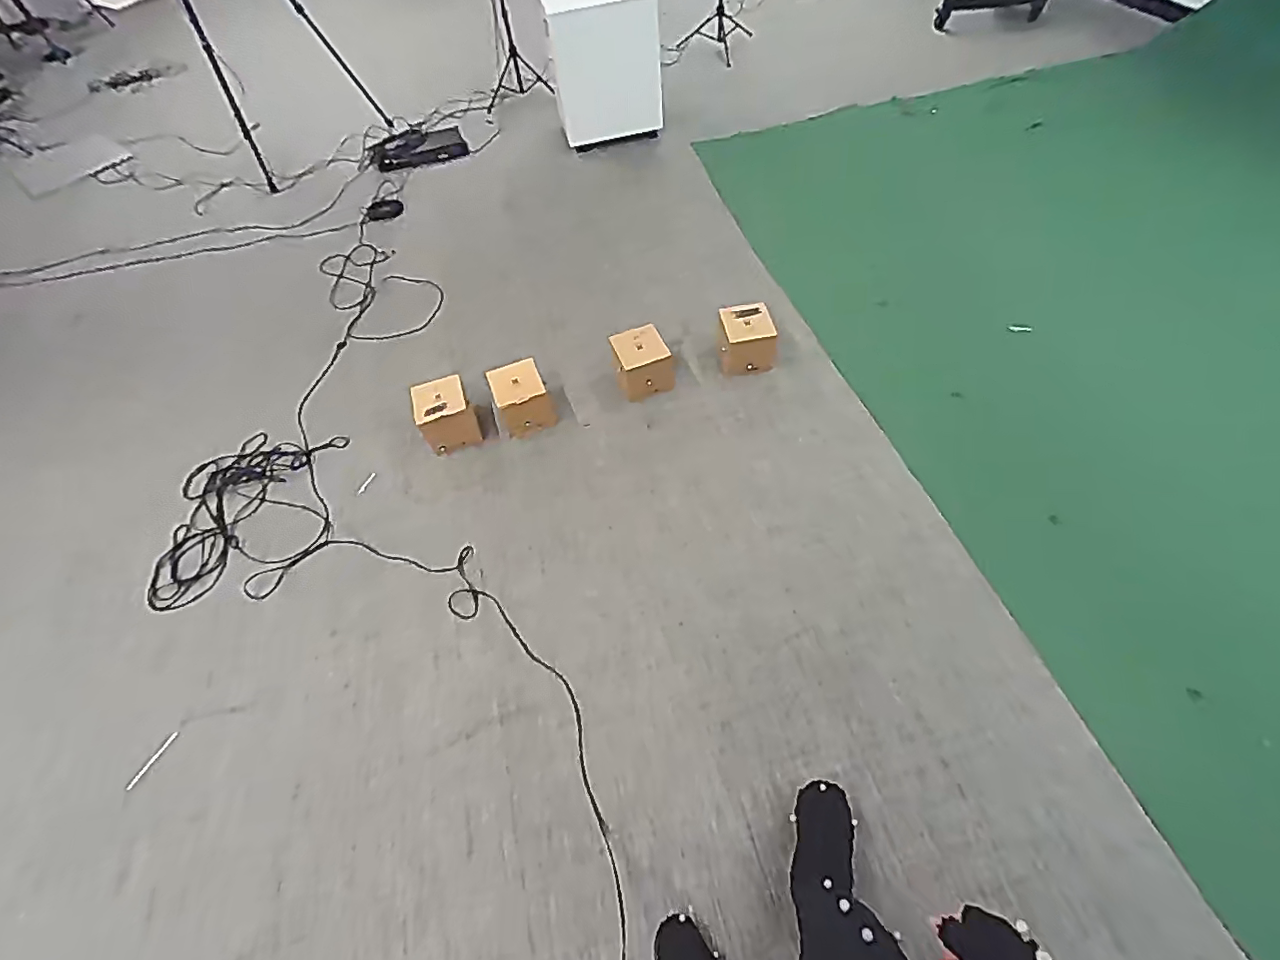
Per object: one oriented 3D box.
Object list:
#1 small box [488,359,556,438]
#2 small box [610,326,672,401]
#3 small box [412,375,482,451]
[{"bbox_3d":[-0.398,-0.273,1.841,0.168,0.176,0.179,-21,59,-8],"label":"small box"},{"bbox_3d":[0.007,-0.399,1.888,0.168,0.176,0.179,-19,58,-9],"label":"small box"},{"bbox_3d":[-0.647,-0.218,1.825,0.168,0.176,0.179,-18,56,-7],"label":"small box"}]
